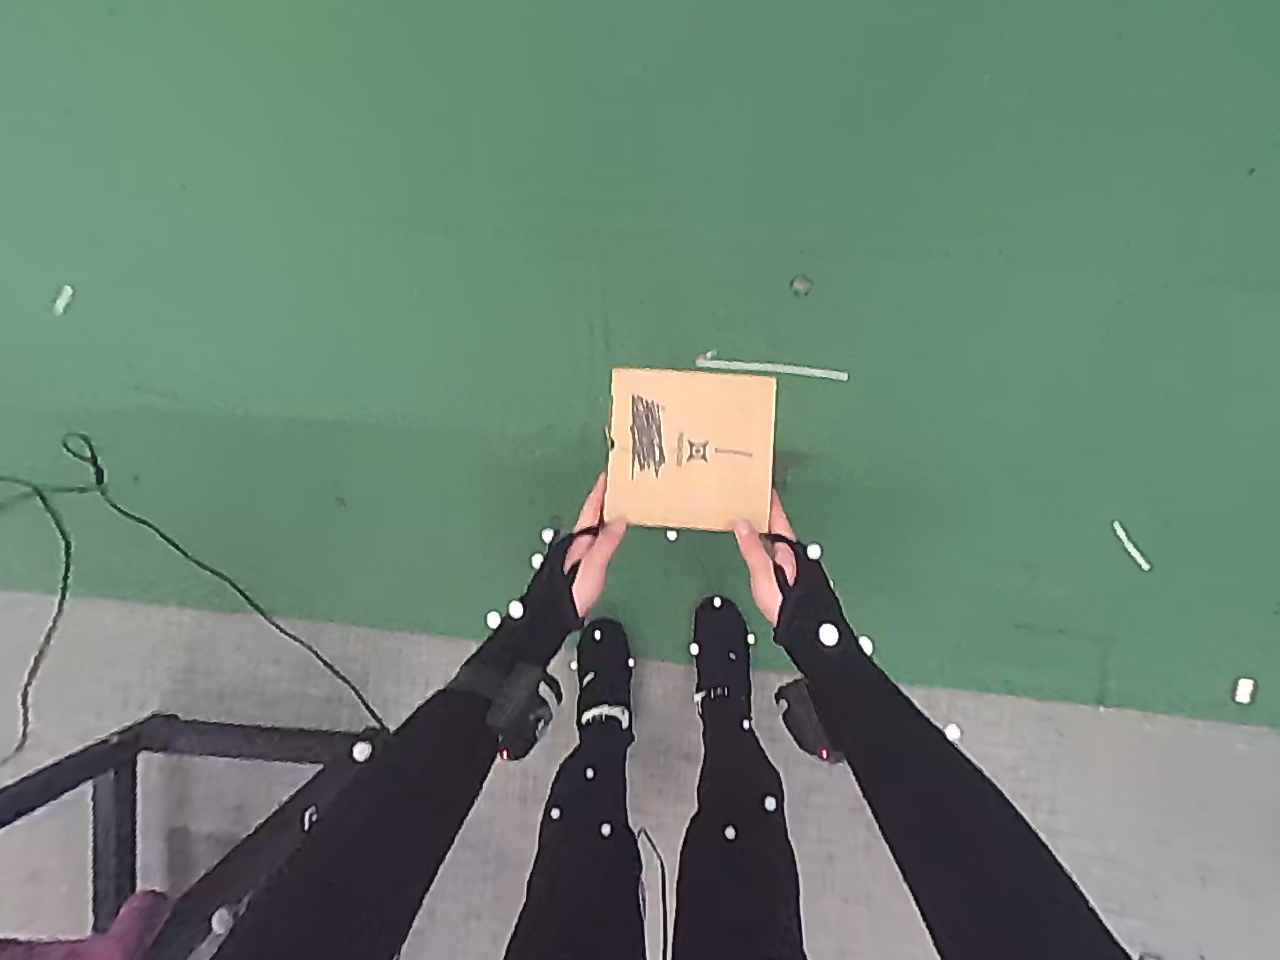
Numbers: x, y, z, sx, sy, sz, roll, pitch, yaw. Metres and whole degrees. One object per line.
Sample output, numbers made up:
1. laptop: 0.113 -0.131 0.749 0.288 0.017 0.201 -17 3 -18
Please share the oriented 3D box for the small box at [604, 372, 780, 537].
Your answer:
1. small box: 0.058 -0.020 0.639 0.179 0.176 0.168 3 85 2
